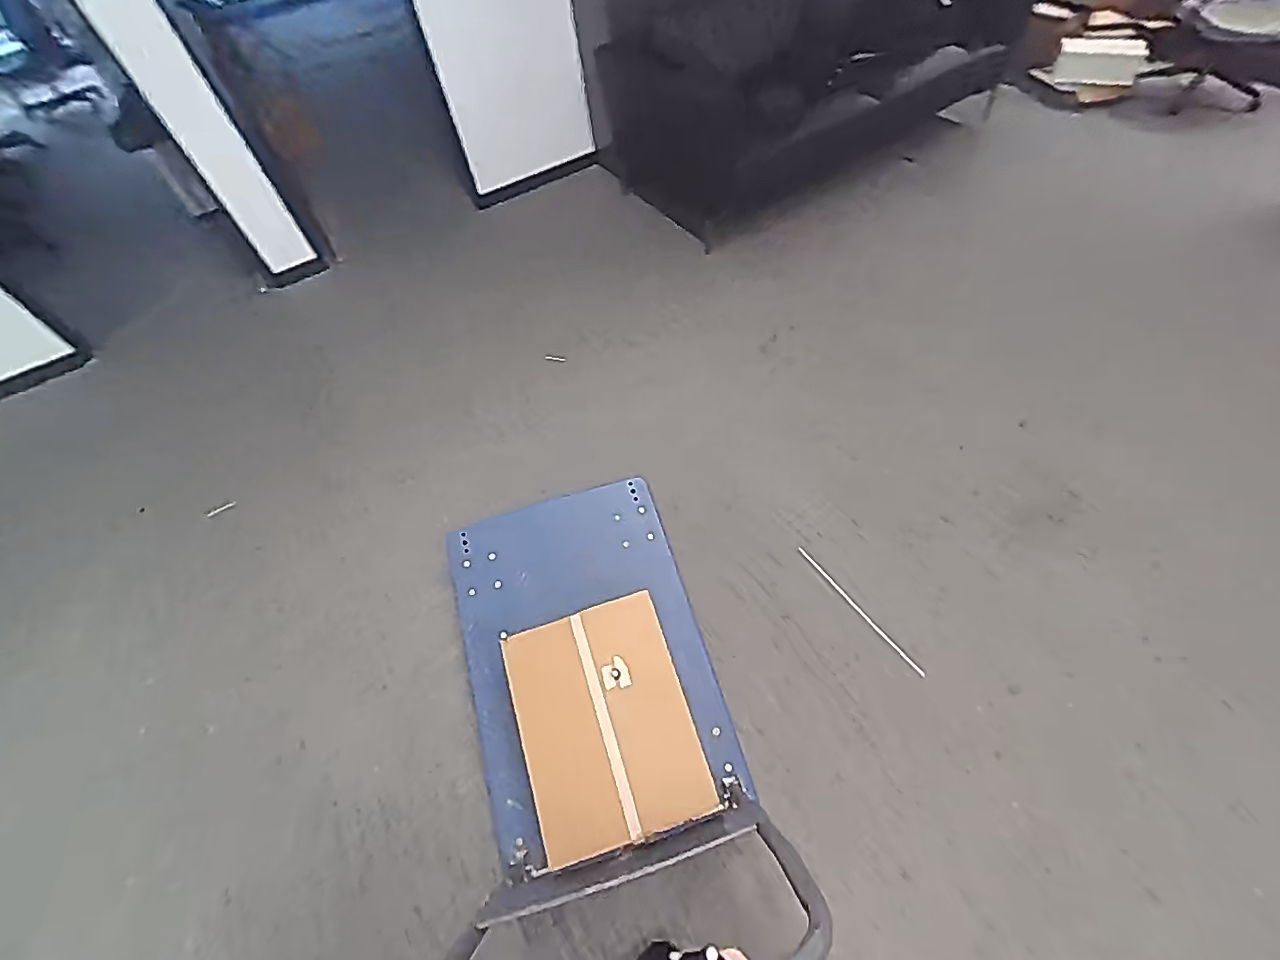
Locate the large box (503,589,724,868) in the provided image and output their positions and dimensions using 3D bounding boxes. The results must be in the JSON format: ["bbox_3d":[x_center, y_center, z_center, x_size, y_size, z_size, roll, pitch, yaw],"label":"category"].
[{"bbox_3d":[-0.052,0.497,1.132,0.320,0.320,0.408,-18,66,-6],"label":"large box"}]
